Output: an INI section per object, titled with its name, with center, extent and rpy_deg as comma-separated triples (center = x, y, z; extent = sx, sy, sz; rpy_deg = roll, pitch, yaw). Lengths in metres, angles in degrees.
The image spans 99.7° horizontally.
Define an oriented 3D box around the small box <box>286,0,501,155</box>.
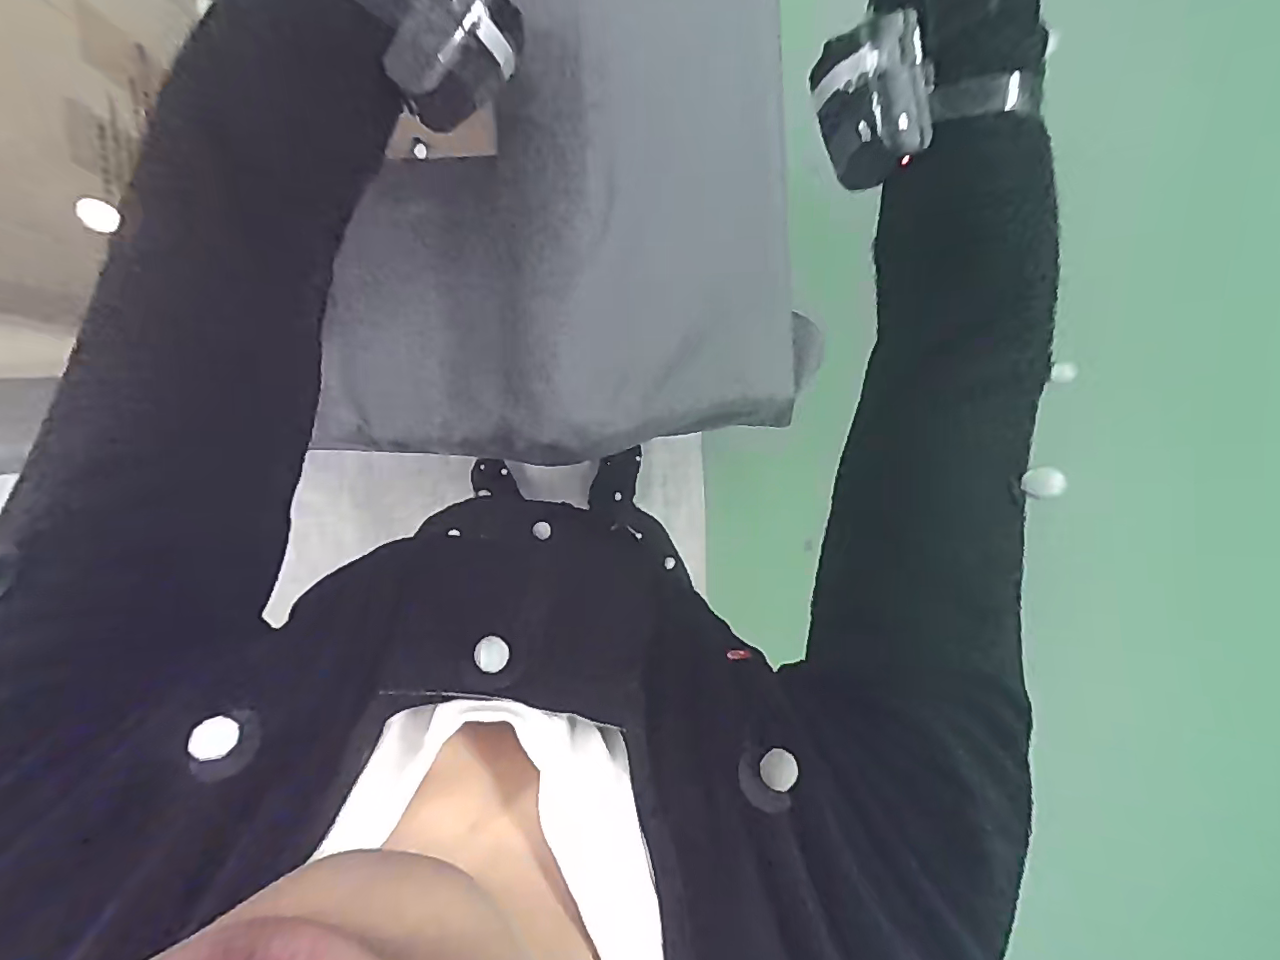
[small box]
center = -0.255, -0.483, 0.594
extent = 0.179, 0.176, 0.168
rpy_deg = -3, 96, -2
